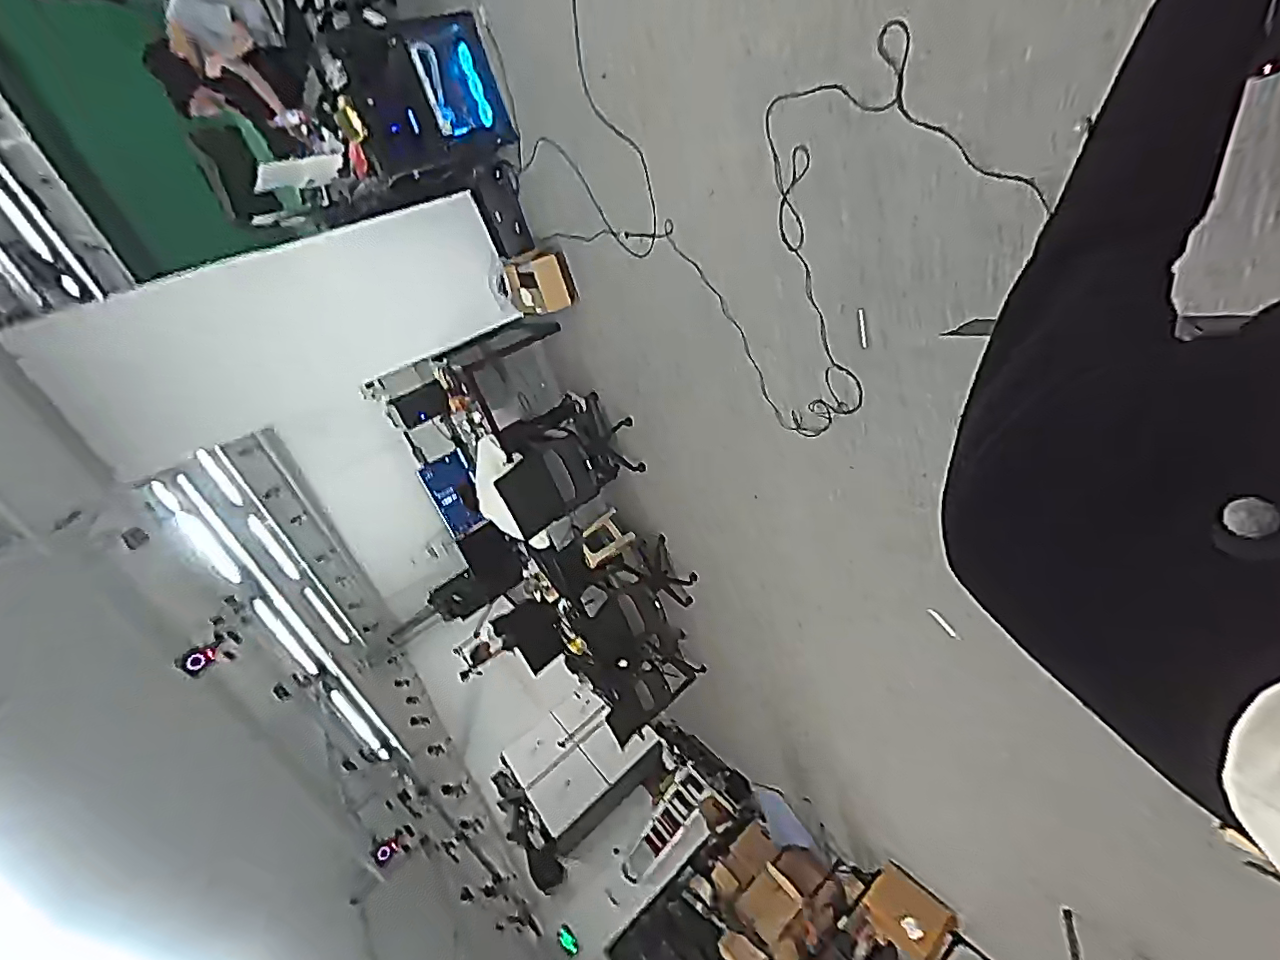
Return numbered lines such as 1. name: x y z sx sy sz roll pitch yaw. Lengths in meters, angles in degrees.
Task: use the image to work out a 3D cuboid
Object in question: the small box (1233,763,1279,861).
1. small box: 1.794 0.936 1.493 0.168 0.176 0.179 18 133 52
